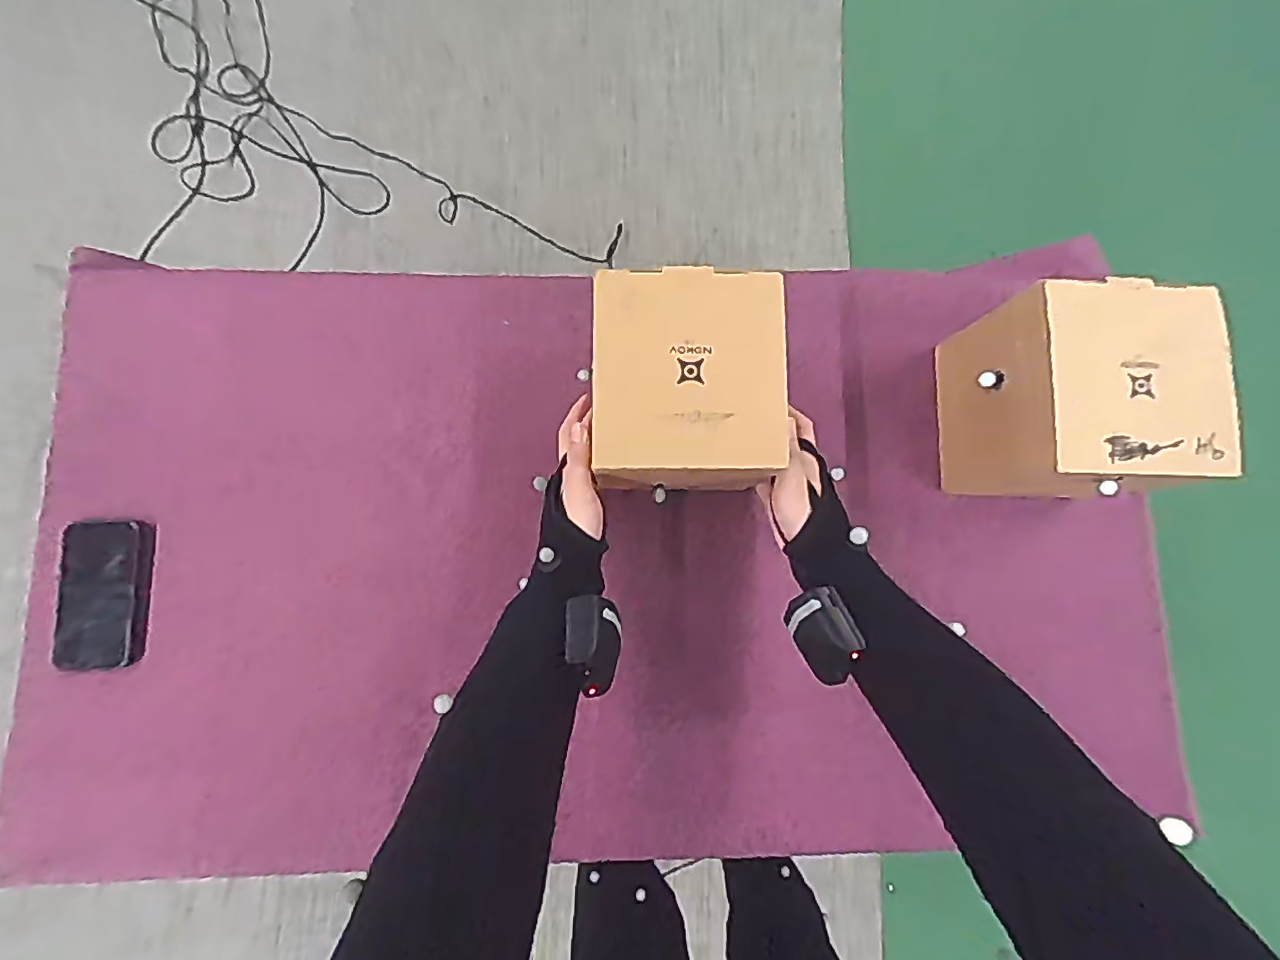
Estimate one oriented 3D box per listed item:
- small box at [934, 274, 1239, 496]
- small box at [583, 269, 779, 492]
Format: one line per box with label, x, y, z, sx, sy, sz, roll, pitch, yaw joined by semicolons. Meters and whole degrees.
small box;0.422;-0.083;0.545;0.168;0.176;0.179;1;82;-1
small box;0.032;-0.085;0.533;0.168;0.176;0.179;0;84;-1
